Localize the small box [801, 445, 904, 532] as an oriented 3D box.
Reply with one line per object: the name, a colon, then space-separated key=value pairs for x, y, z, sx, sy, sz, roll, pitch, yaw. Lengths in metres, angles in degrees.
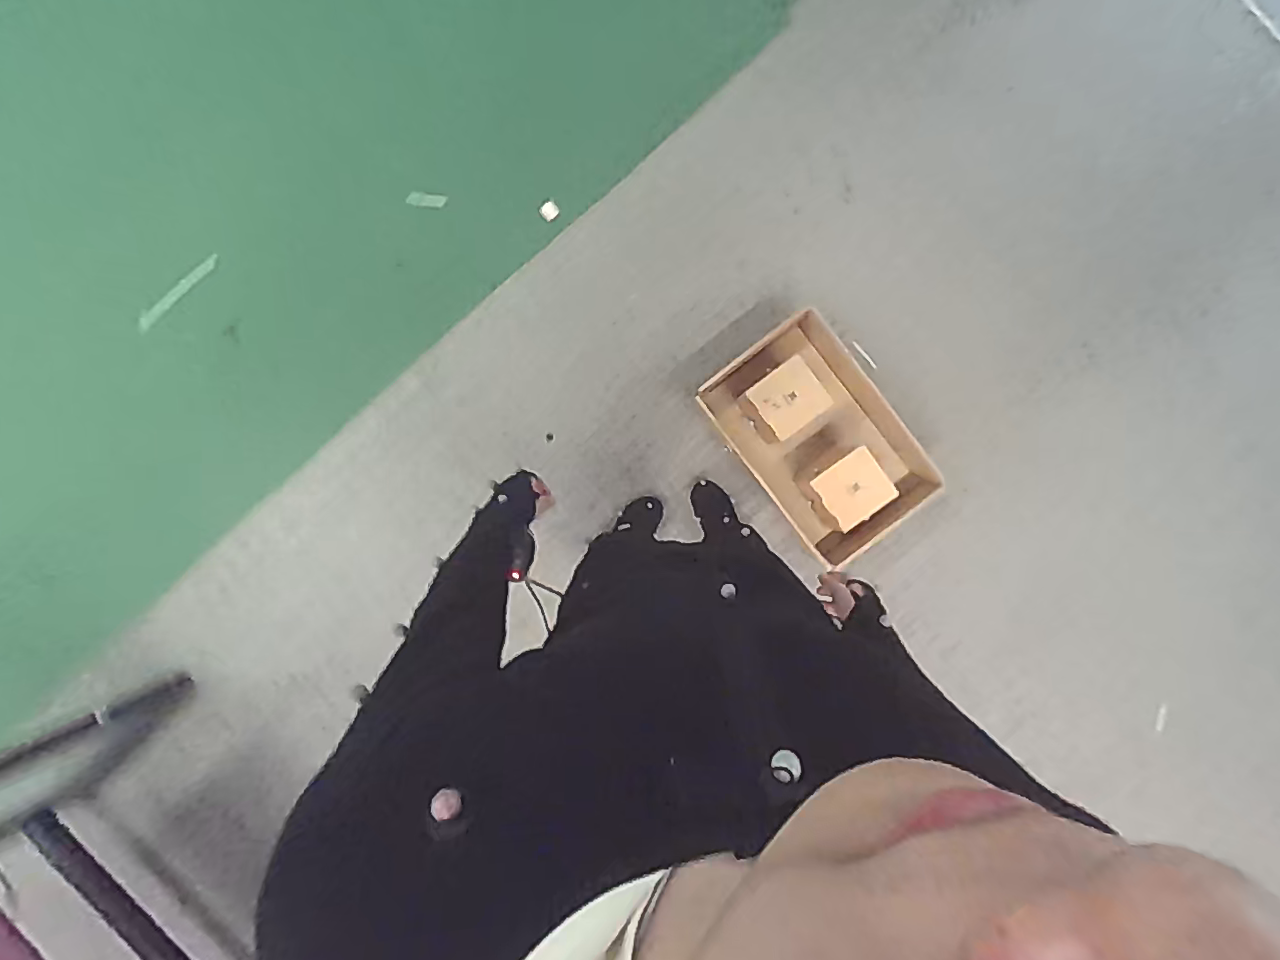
small box: x=0.572 y=0.019 z=1.481 sx=0.179 sy=0.176 sz=0.168 roll=-35 pitch=90 yaw=3

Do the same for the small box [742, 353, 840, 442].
small box: x=0.404 y=-0.219 z=1.479 sx=0.179 sy=0.176 sz=0.168 roll=-36 pitch=90 yaw=1
